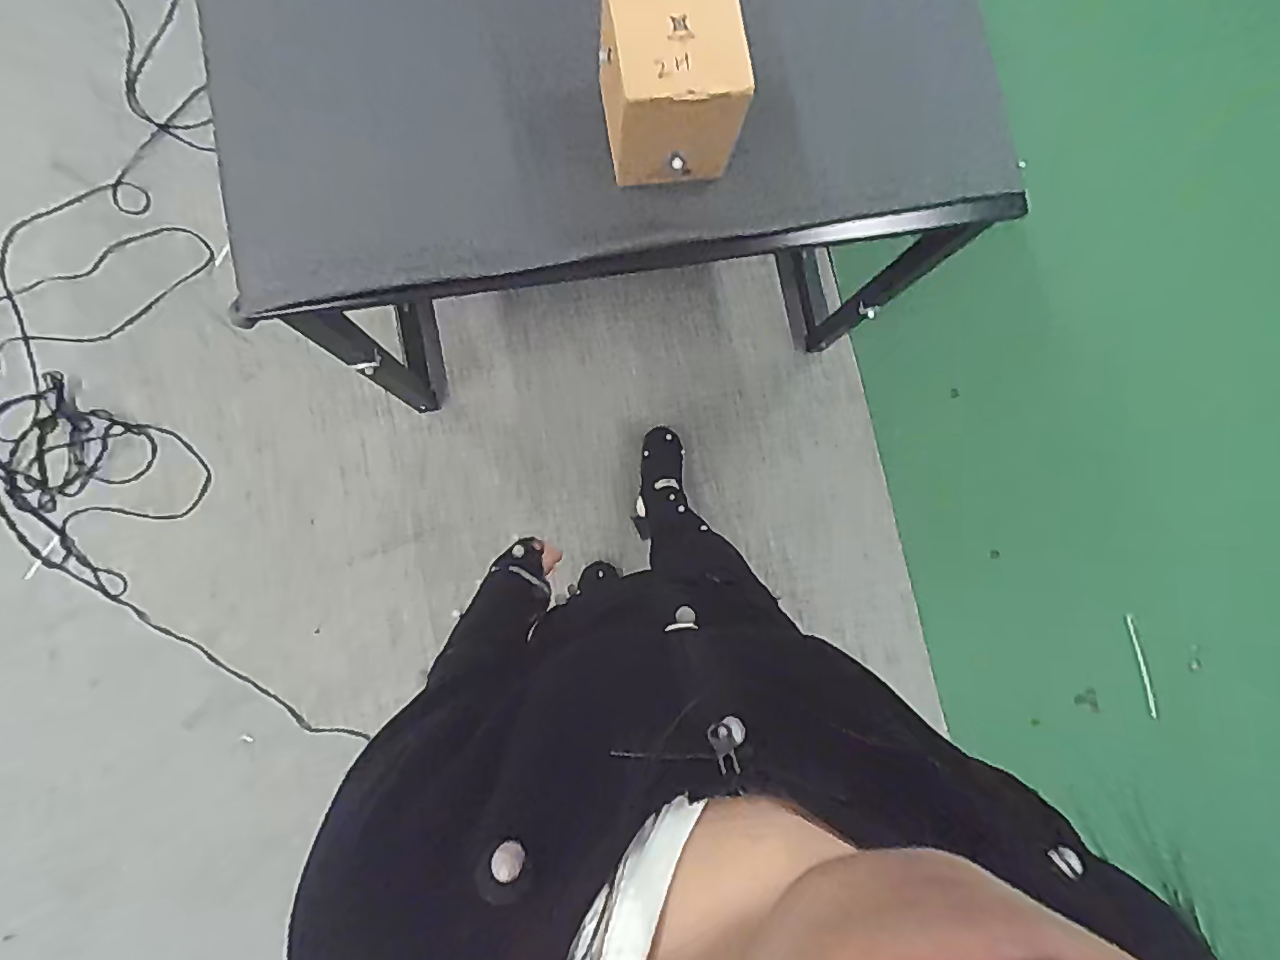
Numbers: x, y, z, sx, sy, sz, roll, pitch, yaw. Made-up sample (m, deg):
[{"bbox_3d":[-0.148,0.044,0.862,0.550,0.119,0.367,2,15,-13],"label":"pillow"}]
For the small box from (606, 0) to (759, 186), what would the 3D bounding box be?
[{"bbox_3d":[0.046,-0.543,0.743,0.168,0.176,0.179,-9,85,-6],"label":"small box"}]
